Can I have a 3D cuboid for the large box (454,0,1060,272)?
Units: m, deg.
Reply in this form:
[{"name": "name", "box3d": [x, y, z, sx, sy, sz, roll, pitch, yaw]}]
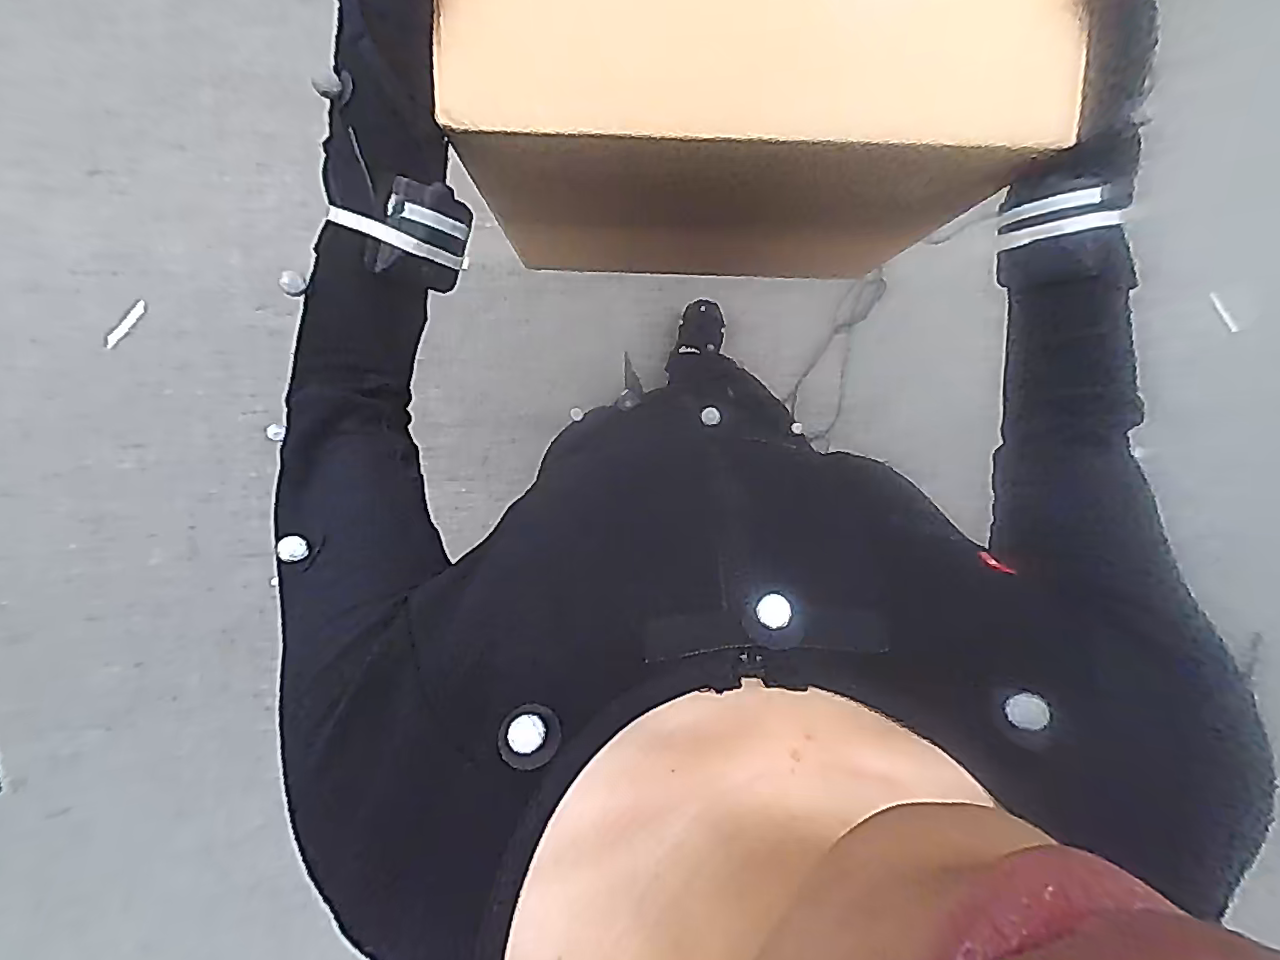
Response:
[{"name": "large box", "box3d": [0.071, -0.392, 0.492, 0.408, 0.320, 0.320, 0, 95, -2]}]
